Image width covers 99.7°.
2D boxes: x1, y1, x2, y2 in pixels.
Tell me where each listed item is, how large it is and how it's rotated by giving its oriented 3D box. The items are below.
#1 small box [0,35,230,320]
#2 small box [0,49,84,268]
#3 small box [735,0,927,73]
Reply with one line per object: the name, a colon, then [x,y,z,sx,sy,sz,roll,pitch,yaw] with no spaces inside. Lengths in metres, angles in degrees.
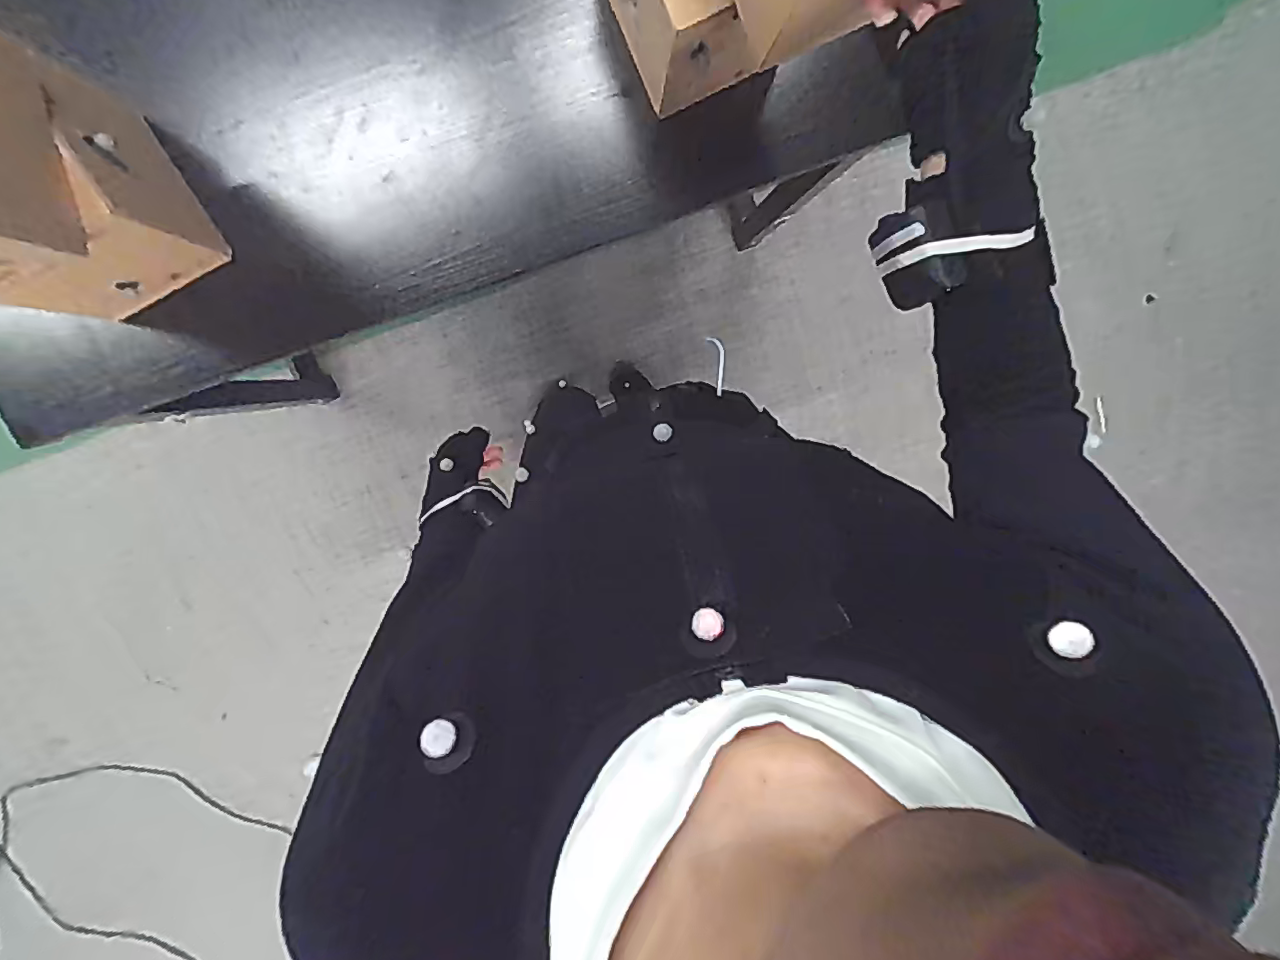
small box: [-0.589,-0.285,0.555,0.168,0.176,0.179,-29,102,0]
small box: [-0.579,-0.255,0.394,0.168,0.176,0.179,-8,101,-4]
small box: [0.153,-0.444,0.378,0.168,0.176,0.179,-24,104,0]
